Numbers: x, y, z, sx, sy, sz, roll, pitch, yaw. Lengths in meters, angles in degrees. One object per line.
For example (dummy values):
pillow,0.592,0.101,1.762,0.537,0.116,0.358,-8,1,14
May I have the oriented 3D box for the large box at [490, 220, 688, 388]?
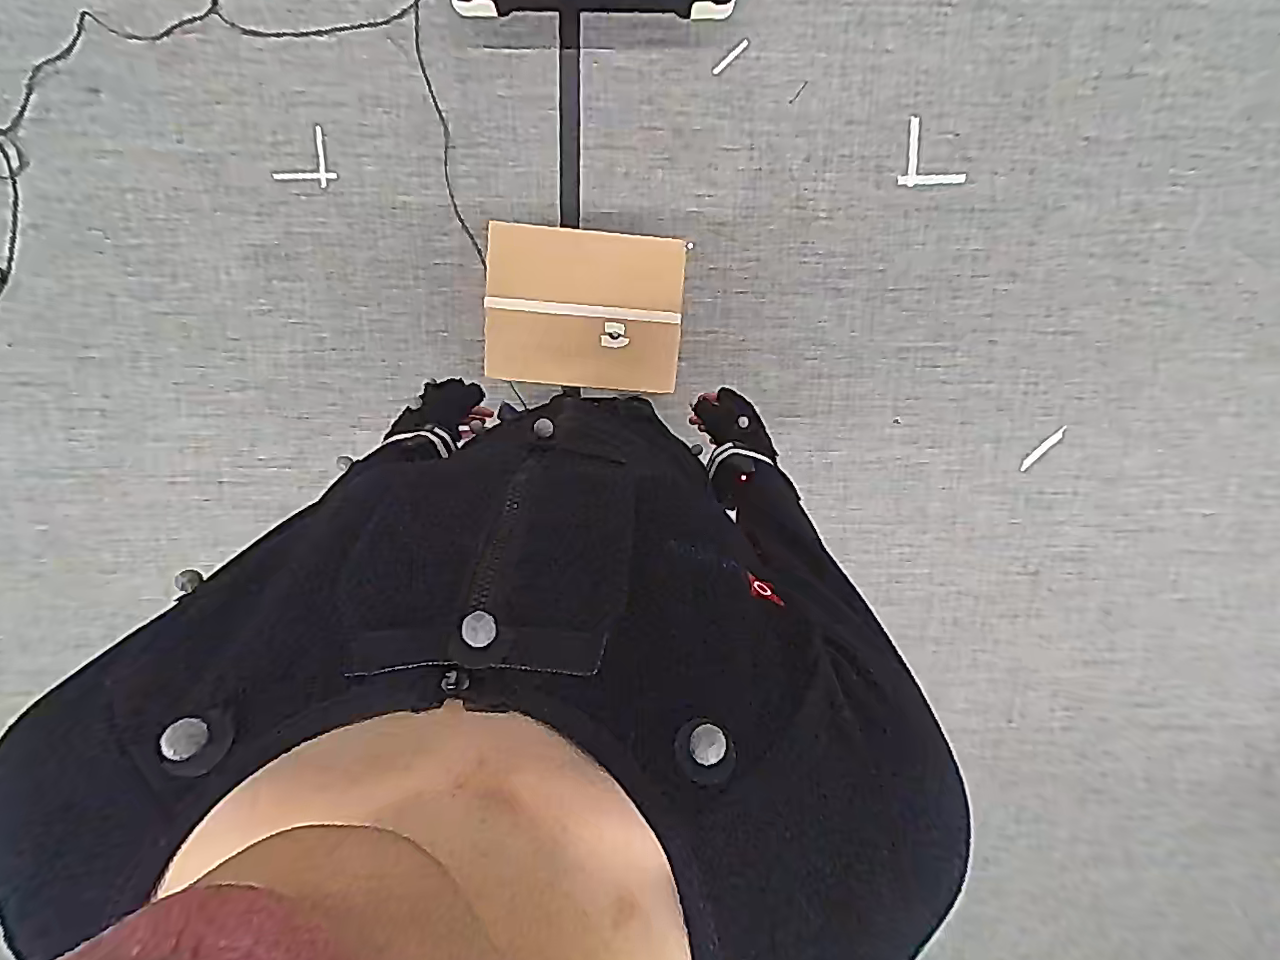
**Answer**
large box,-0.117,-0.383,1.263,0.408,0.320,0.320,4,100,-4
